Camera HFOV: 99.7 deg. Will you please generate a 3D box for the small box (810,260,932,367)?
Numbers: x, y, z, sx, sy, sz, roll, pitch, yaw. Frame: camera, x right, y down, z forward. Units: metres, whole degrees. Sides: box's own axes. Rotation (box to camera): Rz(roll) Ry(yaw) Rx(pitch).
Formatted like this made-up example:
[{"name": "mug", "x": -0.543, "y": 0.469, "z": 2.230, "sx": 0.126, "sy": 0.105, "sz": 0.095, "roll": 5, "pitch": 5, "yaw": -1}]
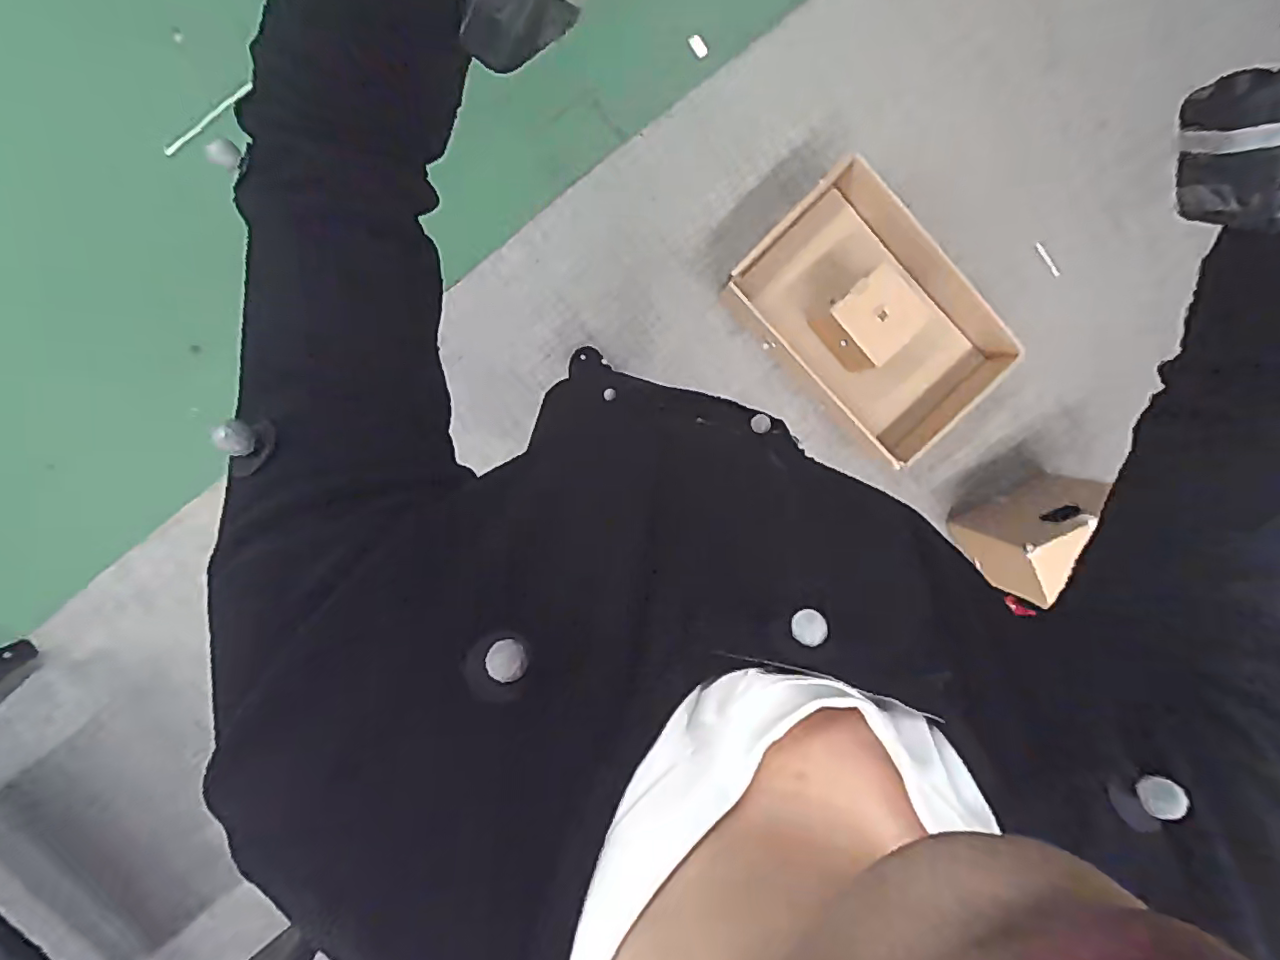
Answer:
[{"name": "small box", "x": 0.542, "y": -0.387, "z": 1.297, "sx": 0.168, "sy": 0.176, "sz": 0.179, "roll": -43, "pitch": 98, "yaw": 5}]
